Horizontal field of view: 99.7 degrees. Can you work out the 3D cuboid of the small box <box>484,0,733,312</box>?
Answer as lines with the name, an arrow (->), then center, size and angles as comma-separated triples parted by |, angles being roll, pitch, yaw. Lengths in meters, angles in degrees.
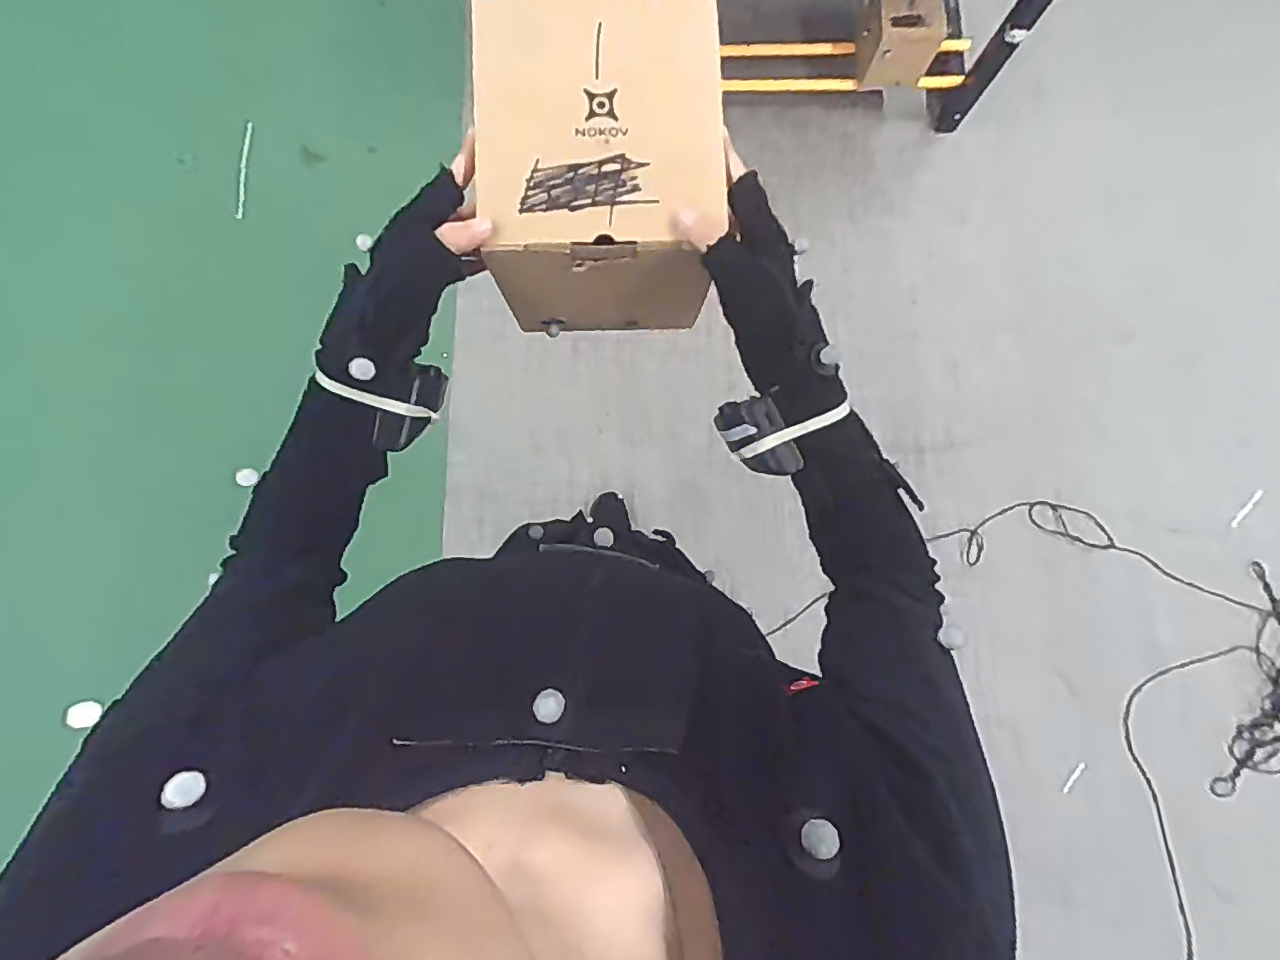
small box -> -0.024, -0.246, 0.438 | 0.168, 0.176, 0.179 | -2, 86, -3
